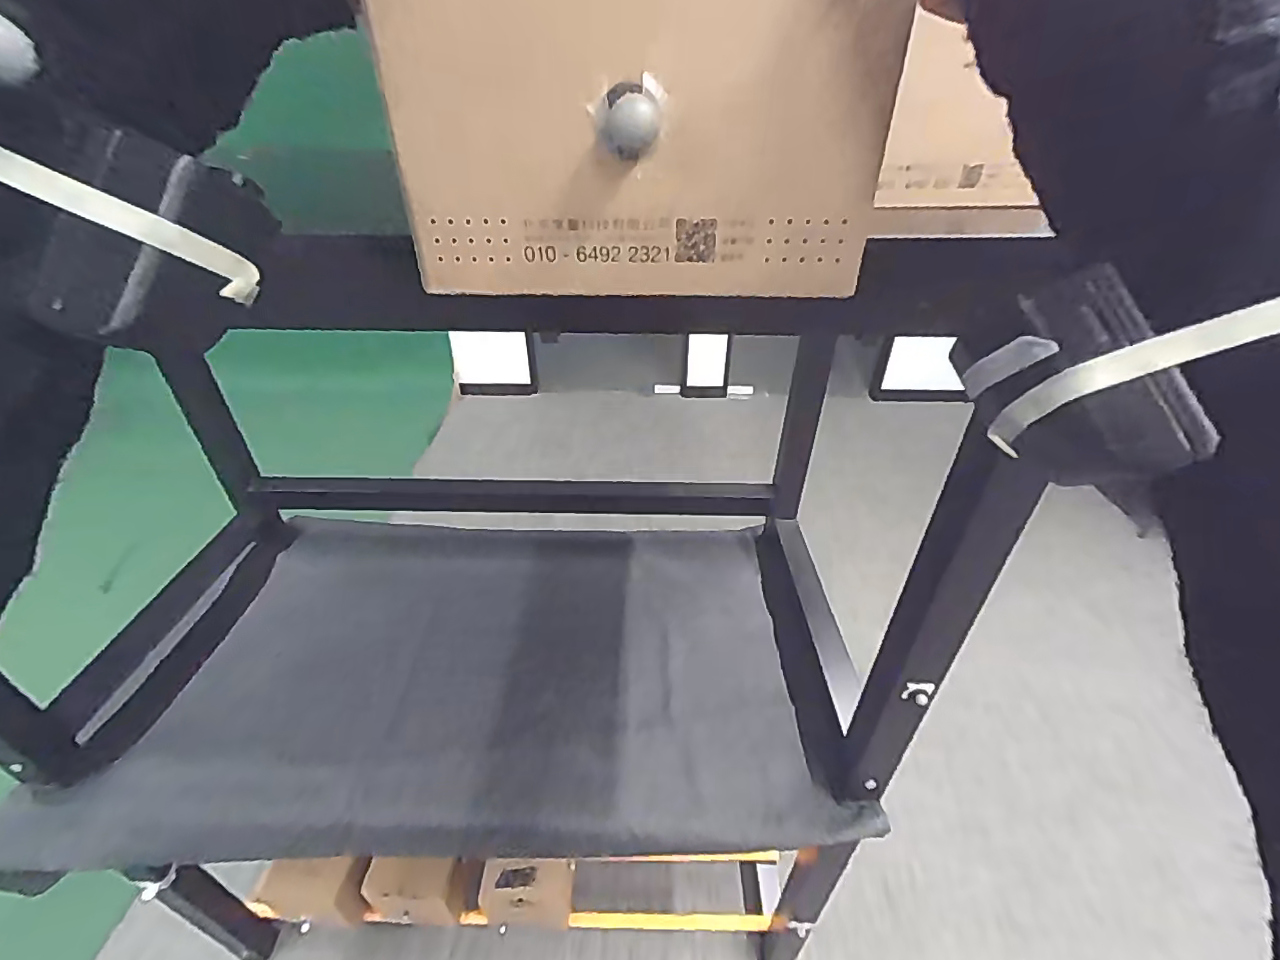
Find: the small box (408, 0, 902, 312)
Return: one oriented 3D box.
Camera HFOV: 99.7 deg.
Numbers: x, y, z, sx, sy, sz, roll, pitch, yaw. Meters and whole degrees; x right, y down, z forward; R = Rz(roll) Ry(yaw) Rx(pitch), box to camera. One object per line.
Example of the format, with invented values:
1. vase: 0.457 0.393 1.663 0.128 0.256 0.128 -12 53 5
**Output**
1. small box: 0.004 -0.186 0.246 0.168 0.176 0.179 1 34 2
